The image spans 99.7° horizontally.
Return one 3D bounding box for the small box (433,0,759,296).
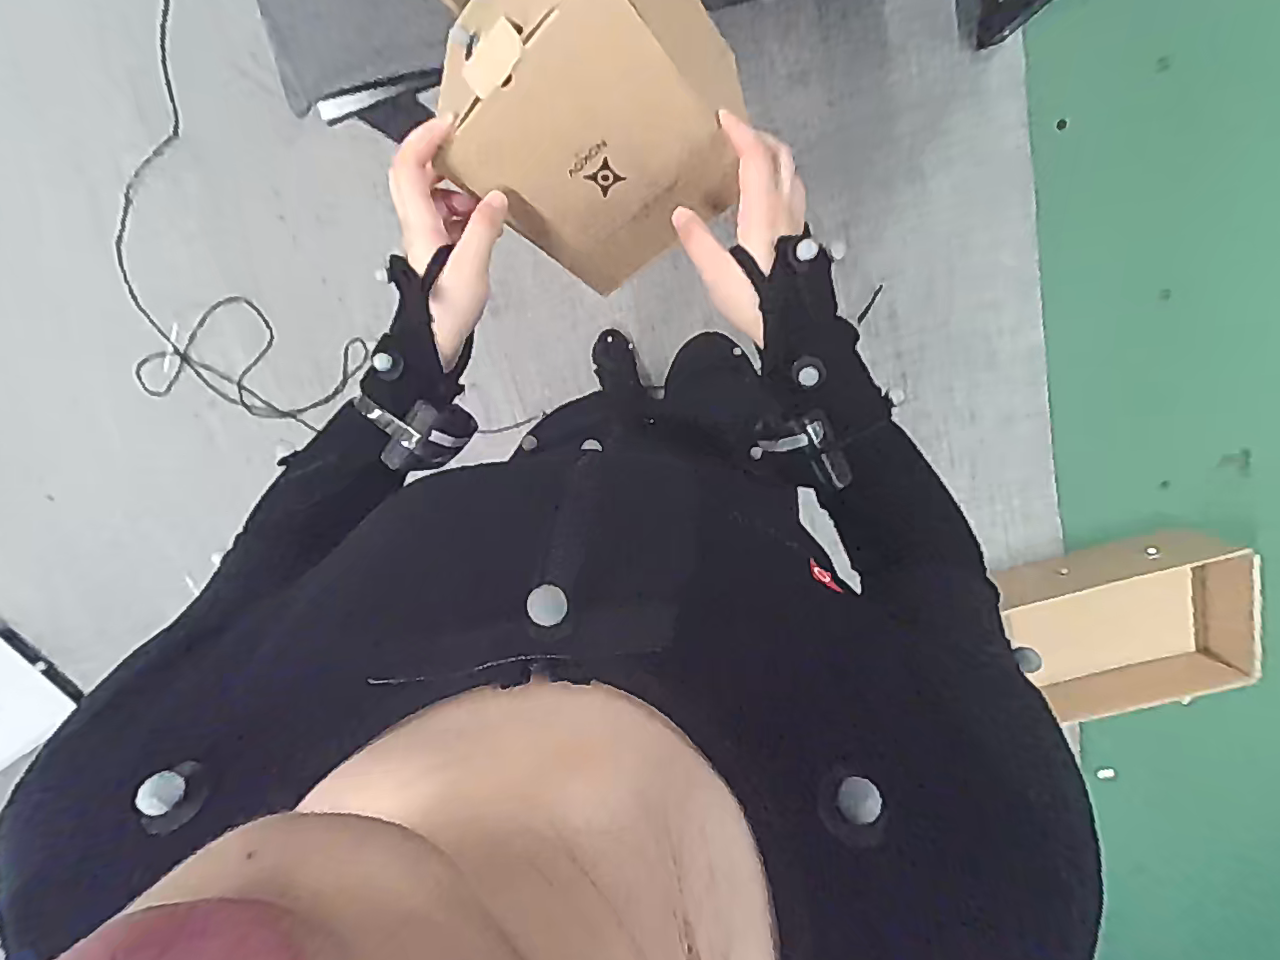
[{"bbox_3d":[-0.032,-0.289,0.420,0.168,0.176,0.179,-22,149,35],"label":"small box"}]
